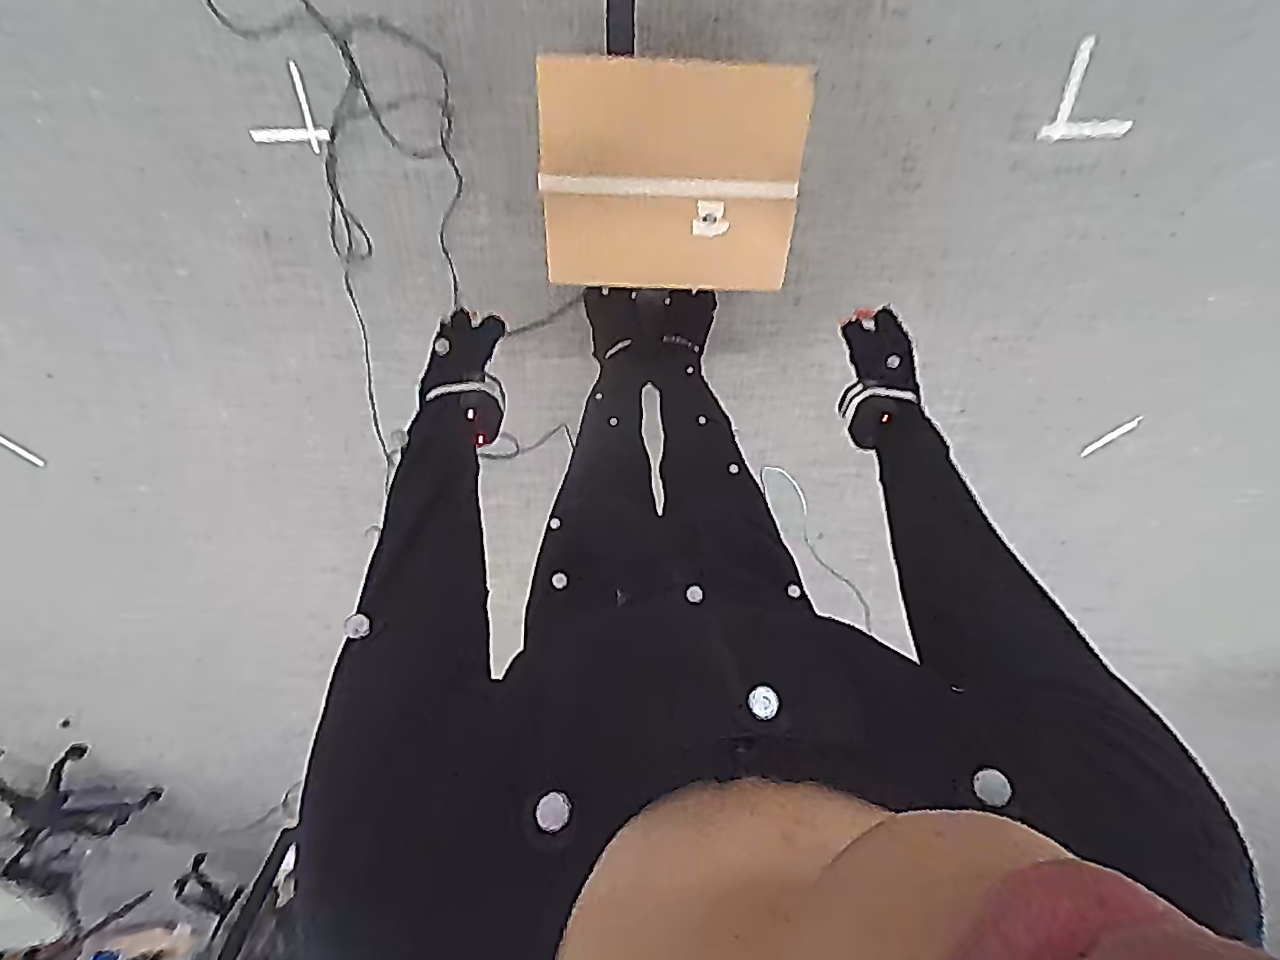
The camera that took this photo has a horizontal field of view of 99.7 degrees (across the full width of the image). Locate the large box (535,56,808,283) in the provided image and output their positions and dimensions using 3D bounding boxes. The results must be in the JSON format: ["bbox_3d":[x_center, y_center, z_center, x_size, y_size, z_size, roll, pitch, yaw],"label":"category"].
[{"bbox_3d":[0.039,-0.553,0.983,0.408,0.320,0.320,0,123,-2],"label":"large box"}]
